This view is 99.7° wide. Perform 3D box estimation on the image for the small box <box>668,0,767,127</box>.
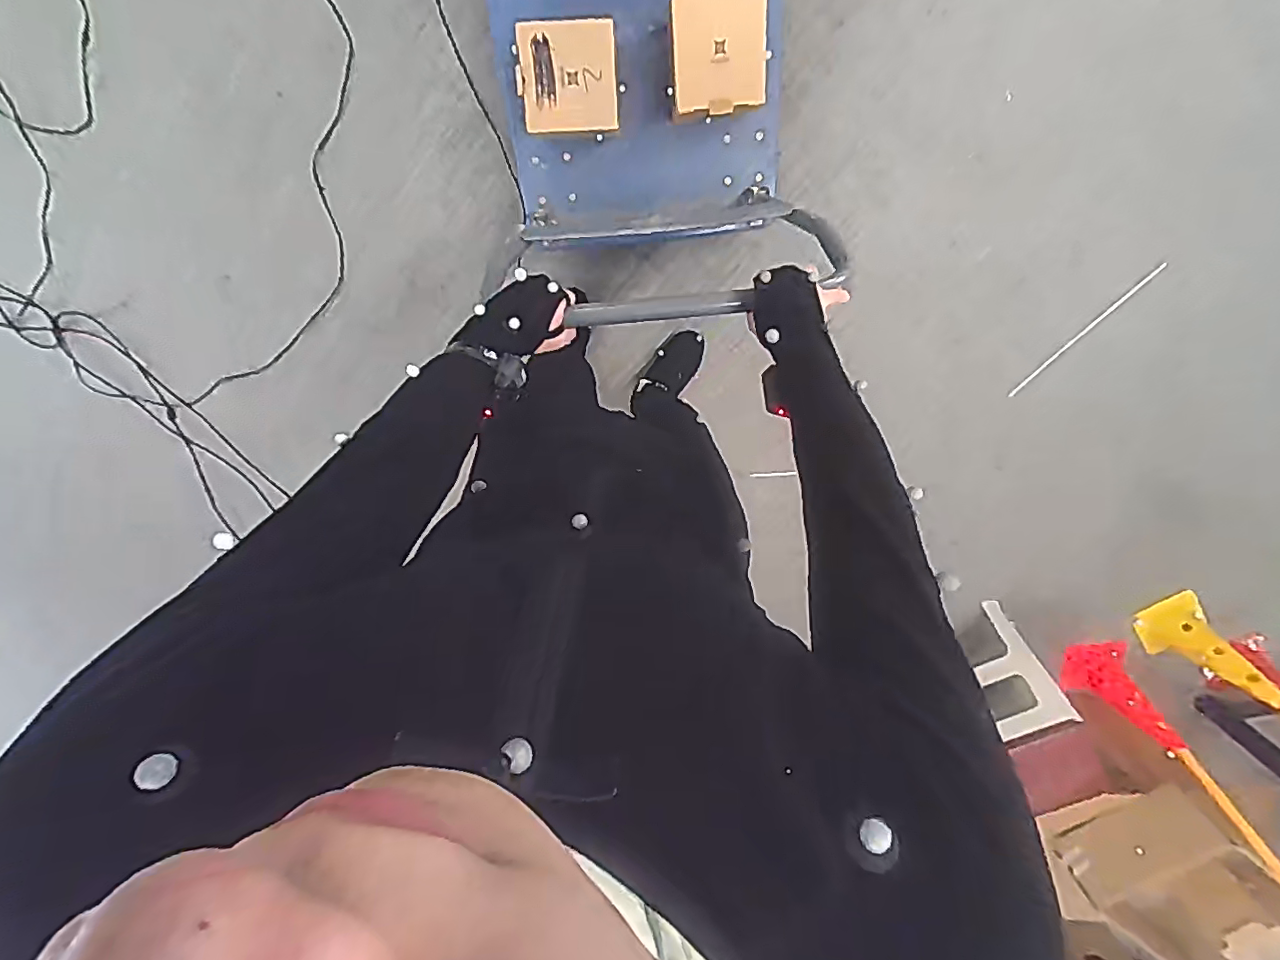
[{"bbox_3d":[0.143,-0.796,1.036,0.168,0.176,0.179,-5,119,3],"label":"small box"}]
